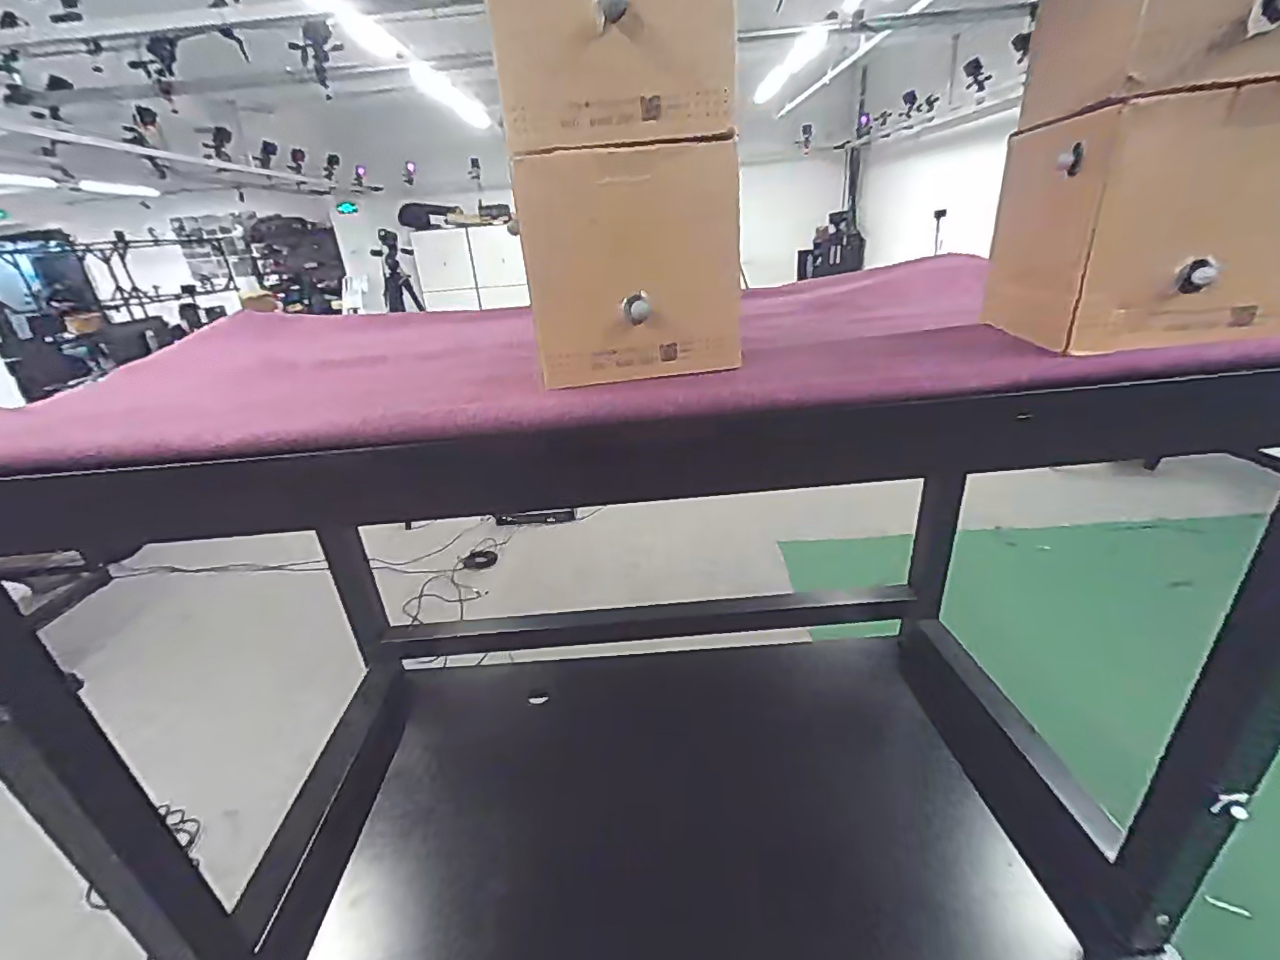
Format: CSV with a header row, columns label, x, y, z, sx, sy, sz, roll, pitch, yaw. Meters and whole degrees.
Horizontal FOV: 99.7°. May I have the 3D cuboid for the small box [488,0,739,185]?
label,x,y,z,sx,sy,sz,roll,pitch,yaw
small box,-0.019,-0.338,0.422,0.168,0.176,0.179,-5,24,-1

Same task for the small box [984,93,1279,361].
label,x,y,z,sx,sy,sz,roll,pitch,yaw
small box,0.406,-0.197,0.433,0.168,0.176,0.179,0,26,10

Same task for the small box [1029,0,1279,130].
label,x,y,z,sx,sy,sz,roll,pitch,yaw
small box,0.393,-0.340,0.357,0.168,0.176,0.179,0,27,14
